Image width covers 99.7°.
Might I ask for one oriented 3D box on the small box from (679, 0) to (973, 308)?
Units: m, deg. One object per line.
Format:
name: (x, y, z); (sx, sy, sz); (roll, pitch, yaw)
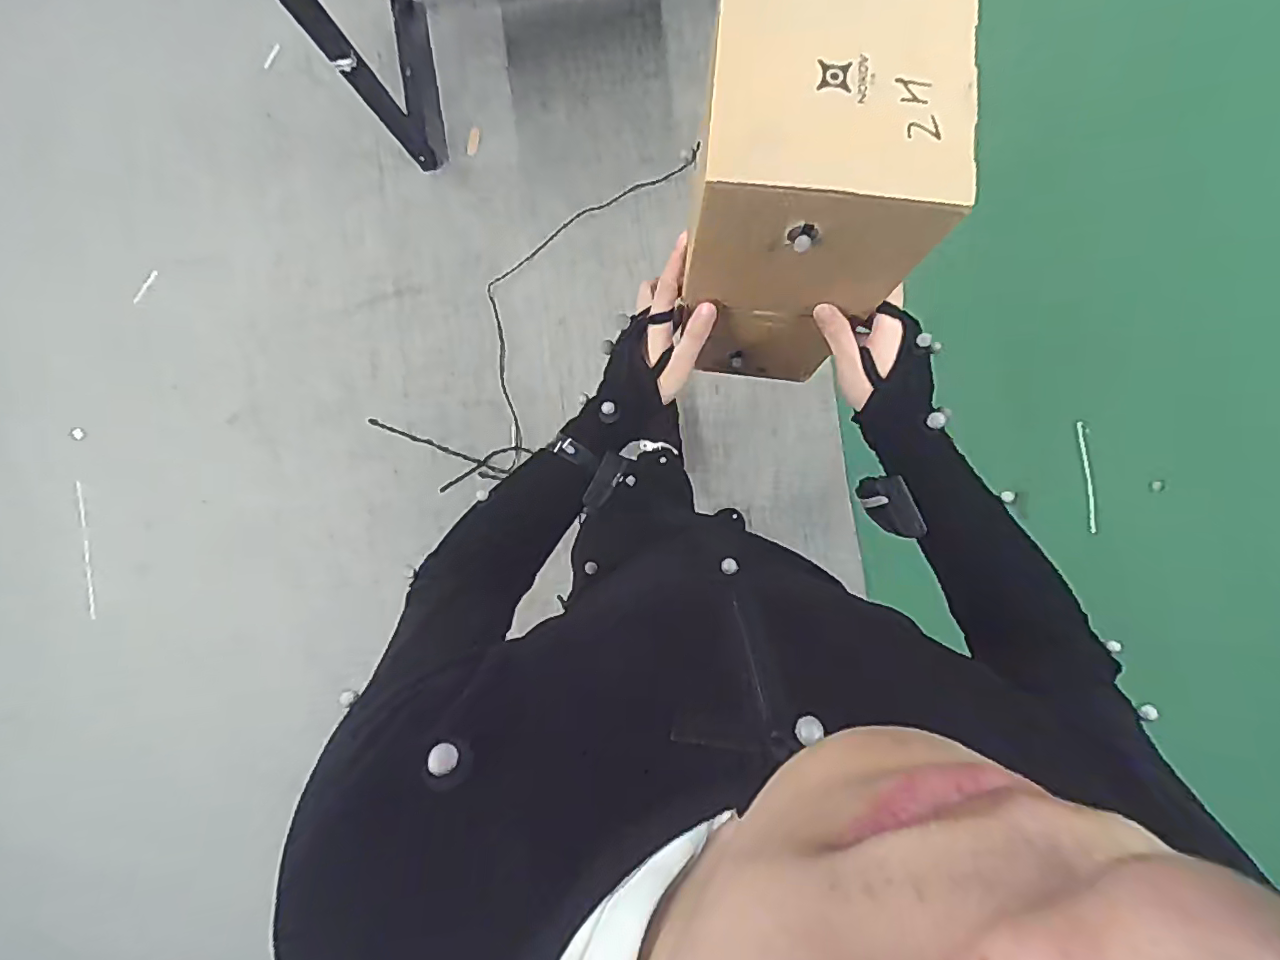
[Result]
small box: (0.128, -0.255, 0.431); (0.179, 0.176, 0.168); (6, 82, 0)

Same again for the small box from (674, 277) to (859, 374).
small box: (0.131, -0.235, 0.595); (0.168, 0.176, 0.179); (7, 82, 0)
